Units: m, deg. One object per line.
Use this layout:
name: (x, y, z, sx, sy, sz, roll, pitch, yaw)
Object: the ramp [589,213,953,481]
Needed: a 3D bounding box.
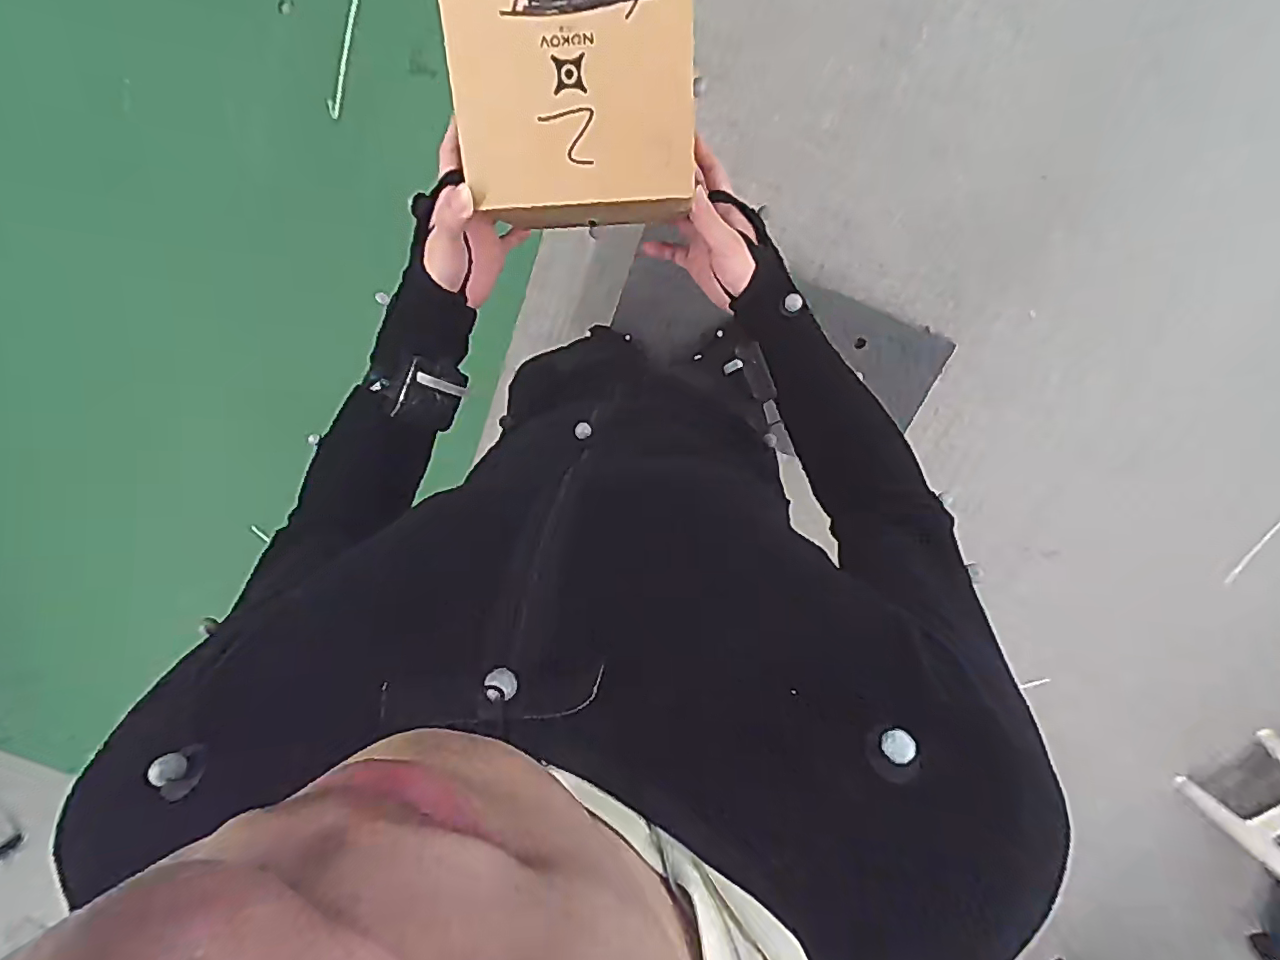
ramp: (0.395, -0.344, 1.584, 0.991, 0.206, 0.509, 19, 110, -3)
